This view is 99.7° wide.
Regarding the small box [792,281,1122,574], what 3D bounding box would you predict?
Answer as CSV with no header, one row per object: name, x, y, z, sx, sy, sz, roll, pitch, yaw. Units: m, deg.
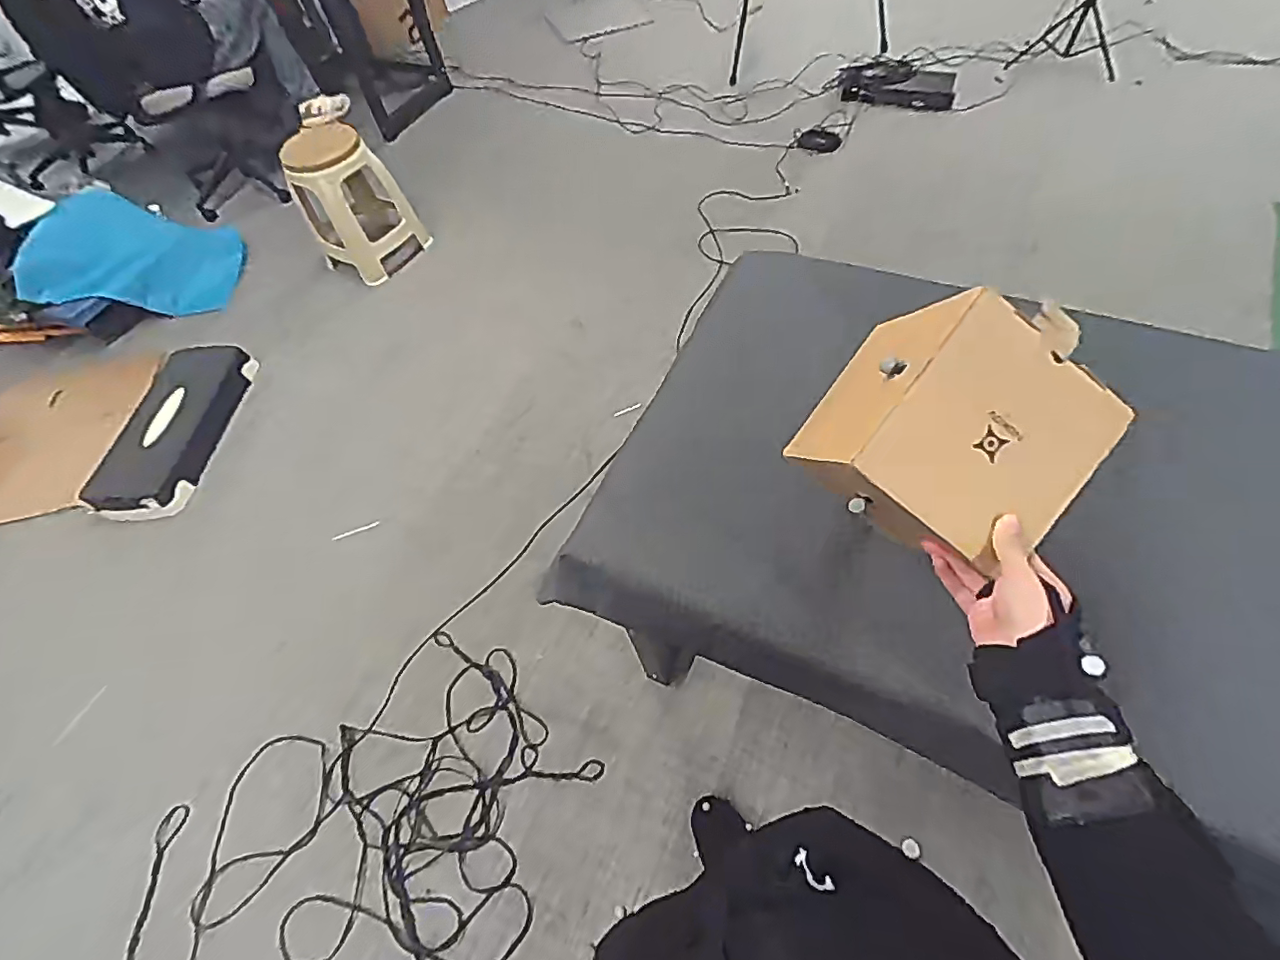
small box,0.267,-0.043,0.506,0.168,0.176,0.179,36,89,-5
